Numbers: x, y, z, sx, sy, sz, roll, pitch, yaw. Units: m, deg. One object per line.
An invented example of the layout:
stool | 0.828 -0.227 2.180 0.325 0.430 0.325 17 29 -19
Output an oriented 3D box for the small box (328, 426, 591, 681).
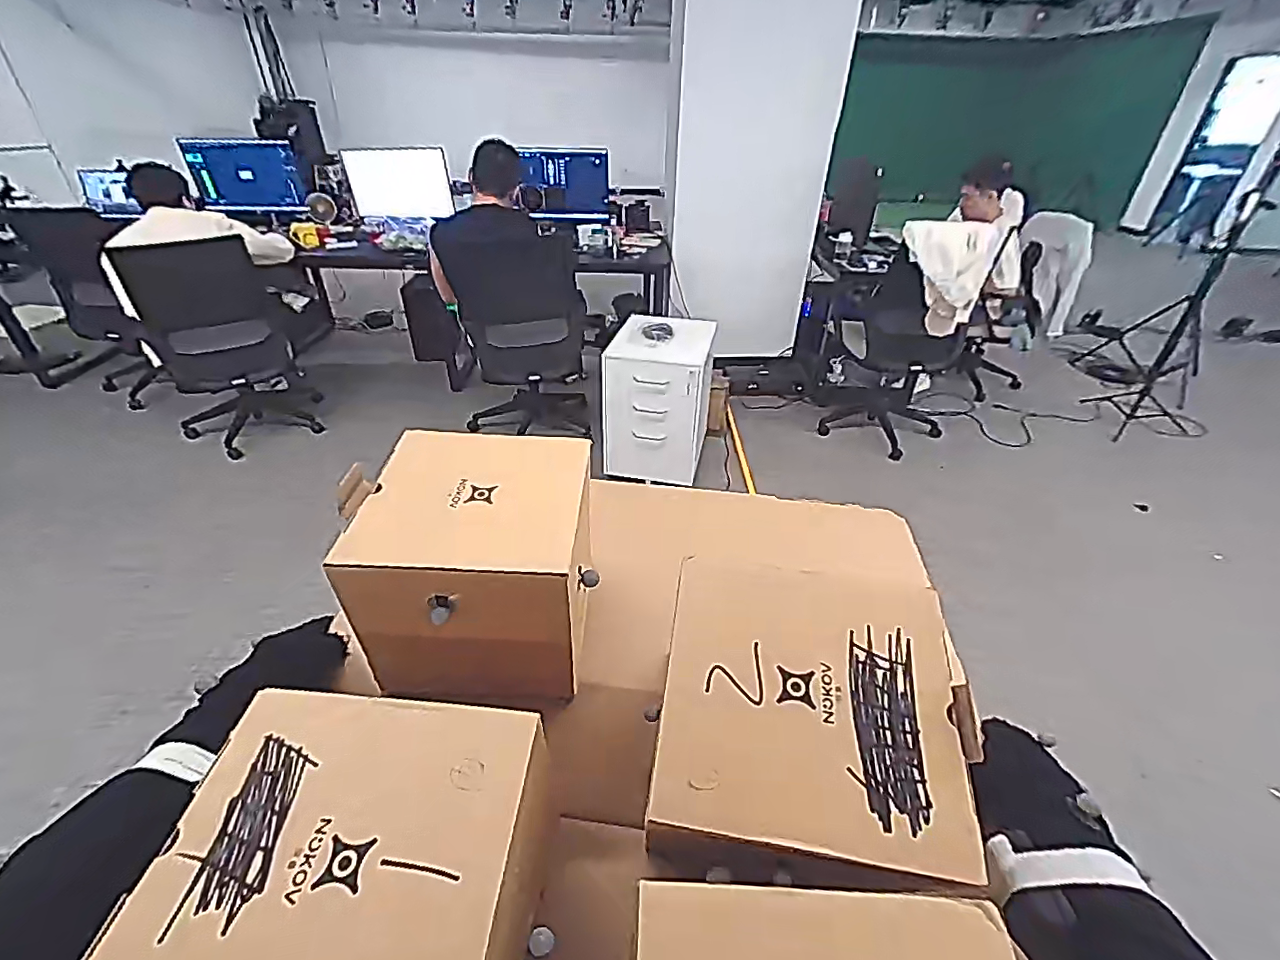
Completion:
small box | -0.139 0.068 0.501 0.179 0.176 0.168 2 39 0
